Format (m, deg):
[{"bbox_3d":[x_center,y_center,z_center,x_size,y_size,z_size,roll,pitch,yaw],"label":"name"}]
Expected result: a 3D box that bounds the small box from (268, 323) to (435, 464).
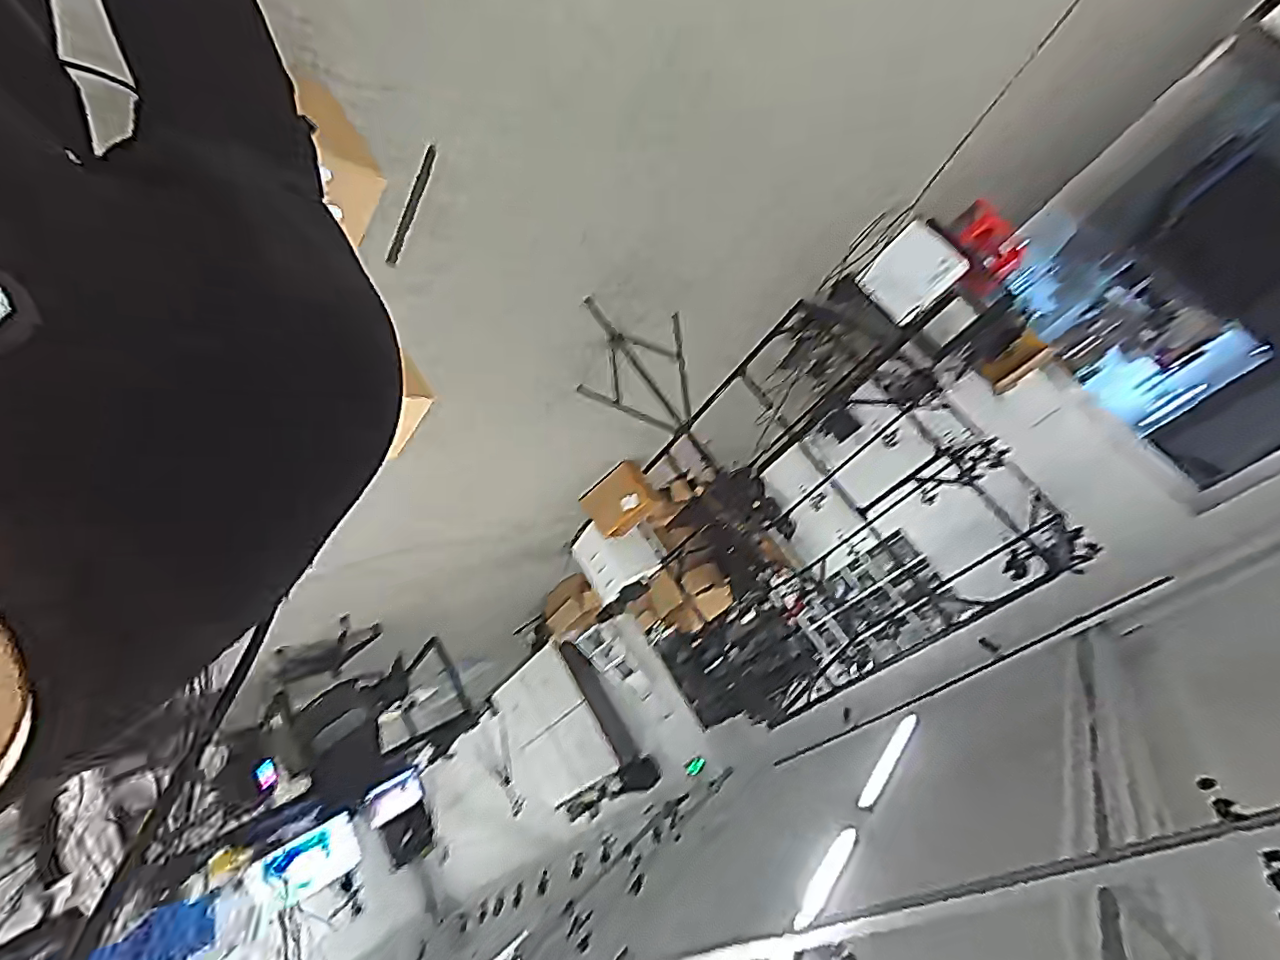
[{"bbox_3d":[-0.498,-0.145,0.933,0.168,0.176,0.179,-45,159,26],"label":"small box"}]
